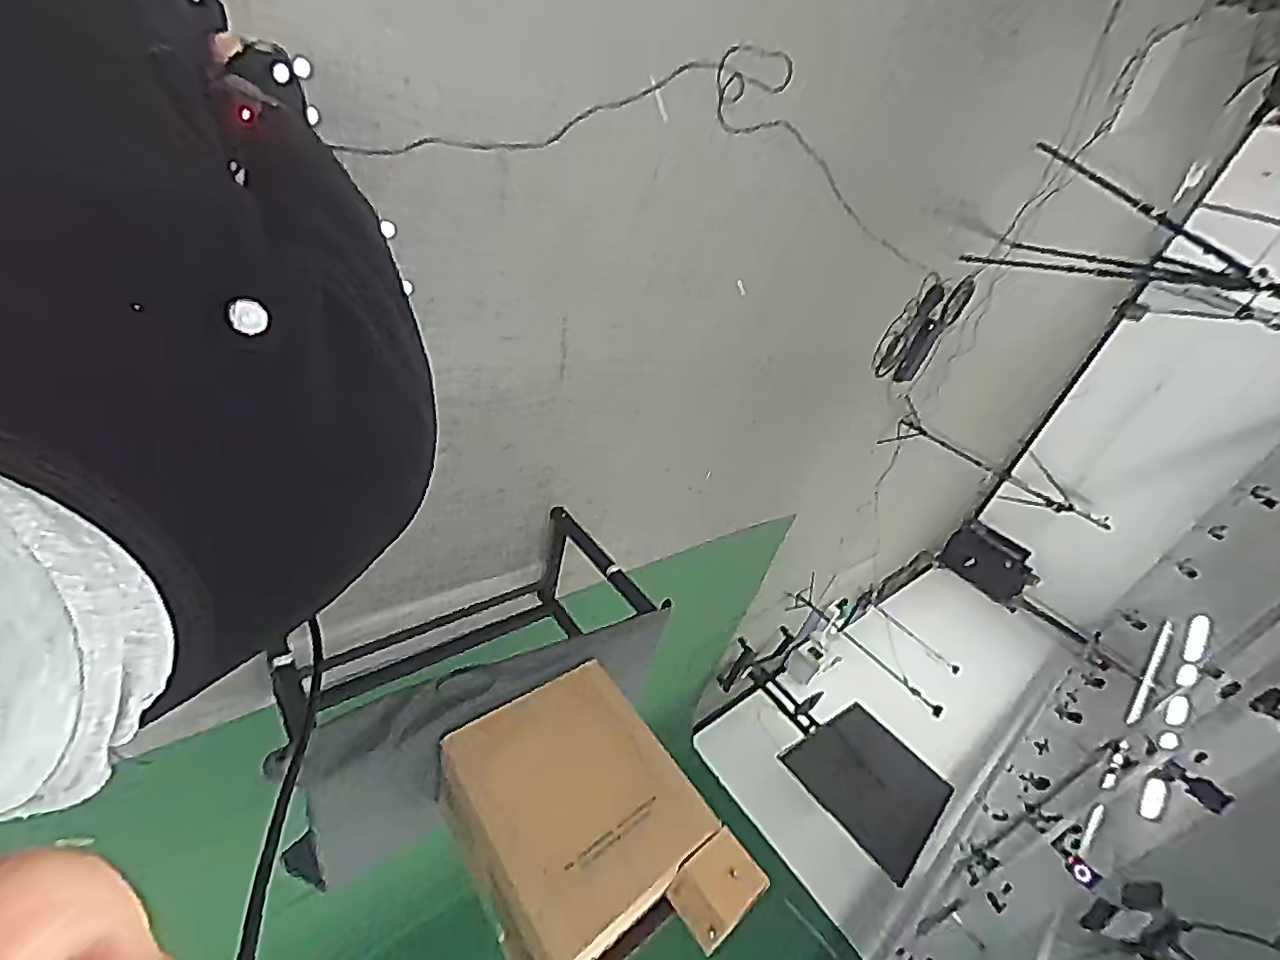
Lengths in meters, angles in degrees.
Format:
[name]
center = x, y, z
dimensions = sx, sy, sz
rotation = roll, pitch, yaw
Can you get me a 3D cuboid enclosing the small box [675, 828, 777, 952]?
[small box]
center = 0.225, 1.078, 1.437
dimensions = 0.179, 0.176, 0.168
rotation = -14, 131, -42
